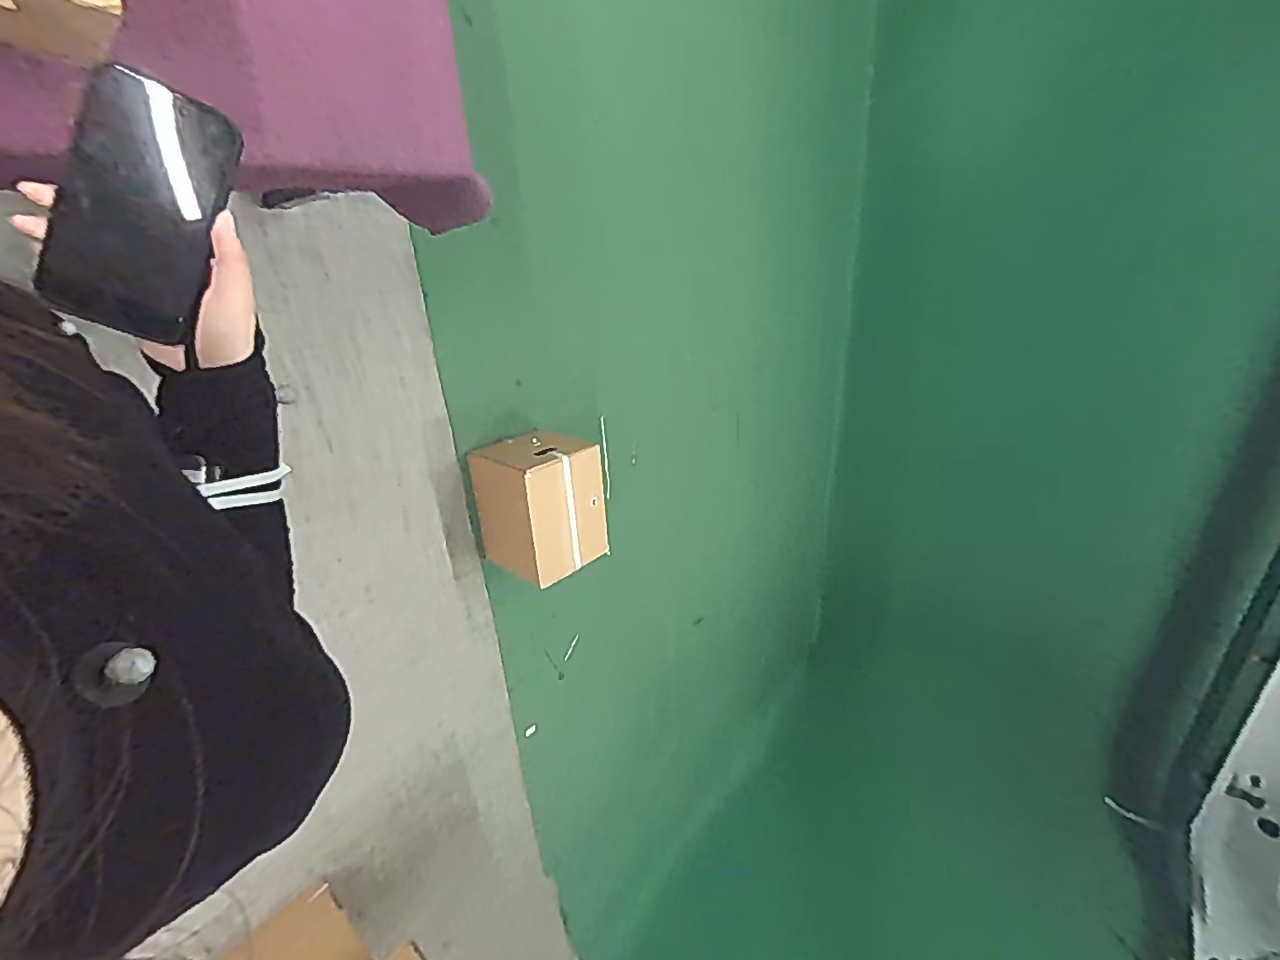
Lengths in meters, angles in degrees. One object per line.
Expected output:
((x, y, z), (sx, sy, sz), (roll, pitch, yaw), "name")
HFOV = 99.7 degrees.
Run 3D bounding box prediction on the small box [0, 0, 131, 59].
((-0.504, -0.440, 0.380), (0.168, 0.176, 0.179), (-21, 119, -44), "small box")
